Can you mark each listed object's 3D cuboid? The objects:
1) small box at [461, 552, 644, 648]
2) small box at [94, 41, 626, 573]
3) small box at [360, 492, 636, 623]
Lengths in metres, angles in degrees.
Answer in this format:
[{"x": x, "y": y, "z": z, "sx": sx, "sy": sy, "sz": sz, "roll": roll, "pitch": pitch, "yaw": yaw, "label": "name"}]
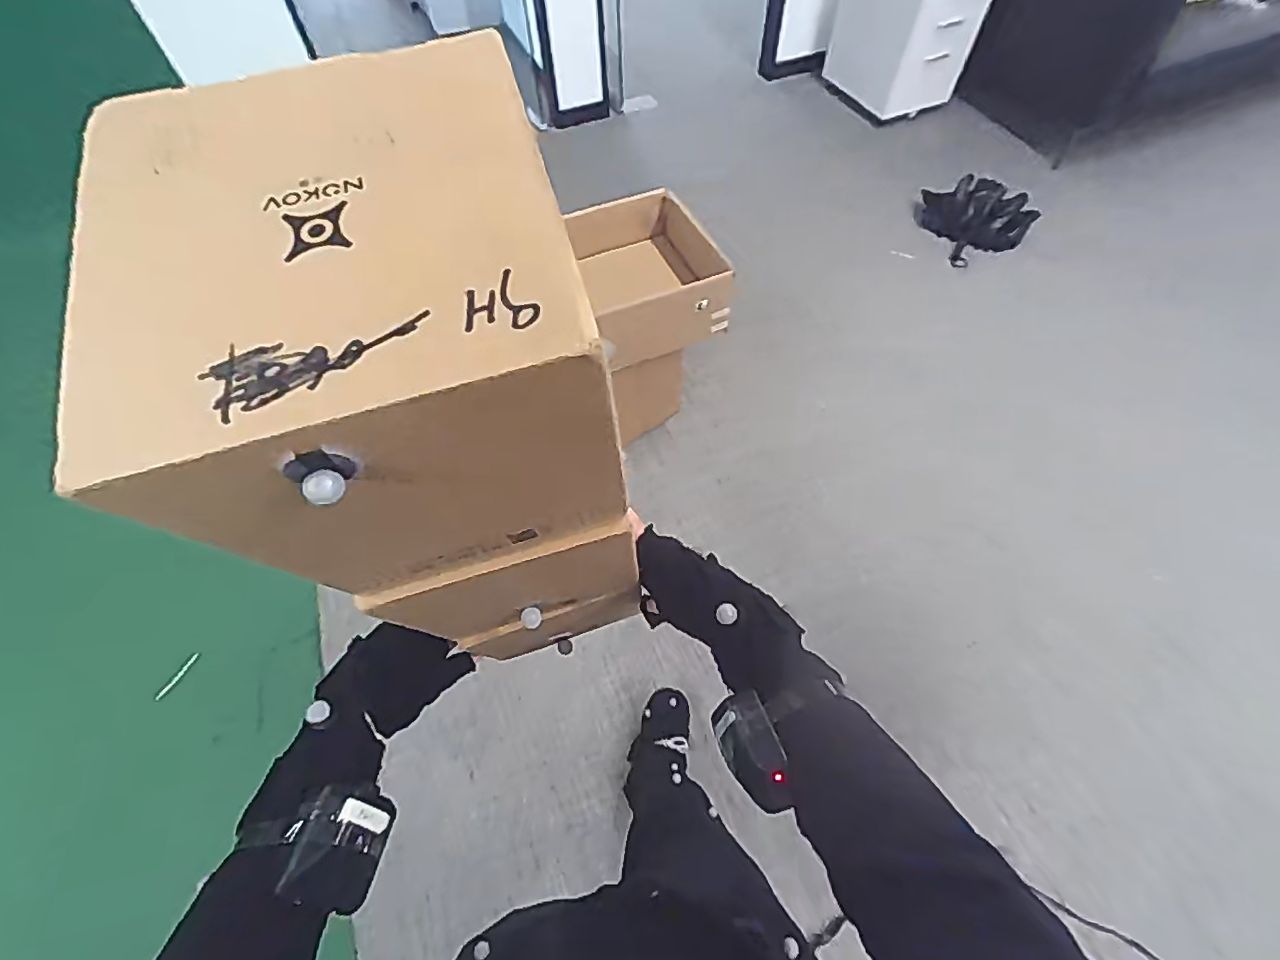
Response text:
[{"x": -0.101, "y": 0.065, "z": 0.579, "sx": 0.168, "sy": 0.176, "sz": 0.179, "roll": -19, "pitch": 70, "yaw": -6, "label": "small box"}, {"x": -0.109, "y": -0.071, "z": 0.279, "sx": 0.168, "sy": 0.176, "sz": 0.179, "roll": -16, "pitch": 68, "yaw": -4, "label": "small box"}, {"x": -0.104, "y": -0.001, "z": 0.428, "sx": 0.168, "sy": 0.176, "sz": 0.179, "roll": -15, "pitch": 69, "yaw": -4, "label": "small box"}]
